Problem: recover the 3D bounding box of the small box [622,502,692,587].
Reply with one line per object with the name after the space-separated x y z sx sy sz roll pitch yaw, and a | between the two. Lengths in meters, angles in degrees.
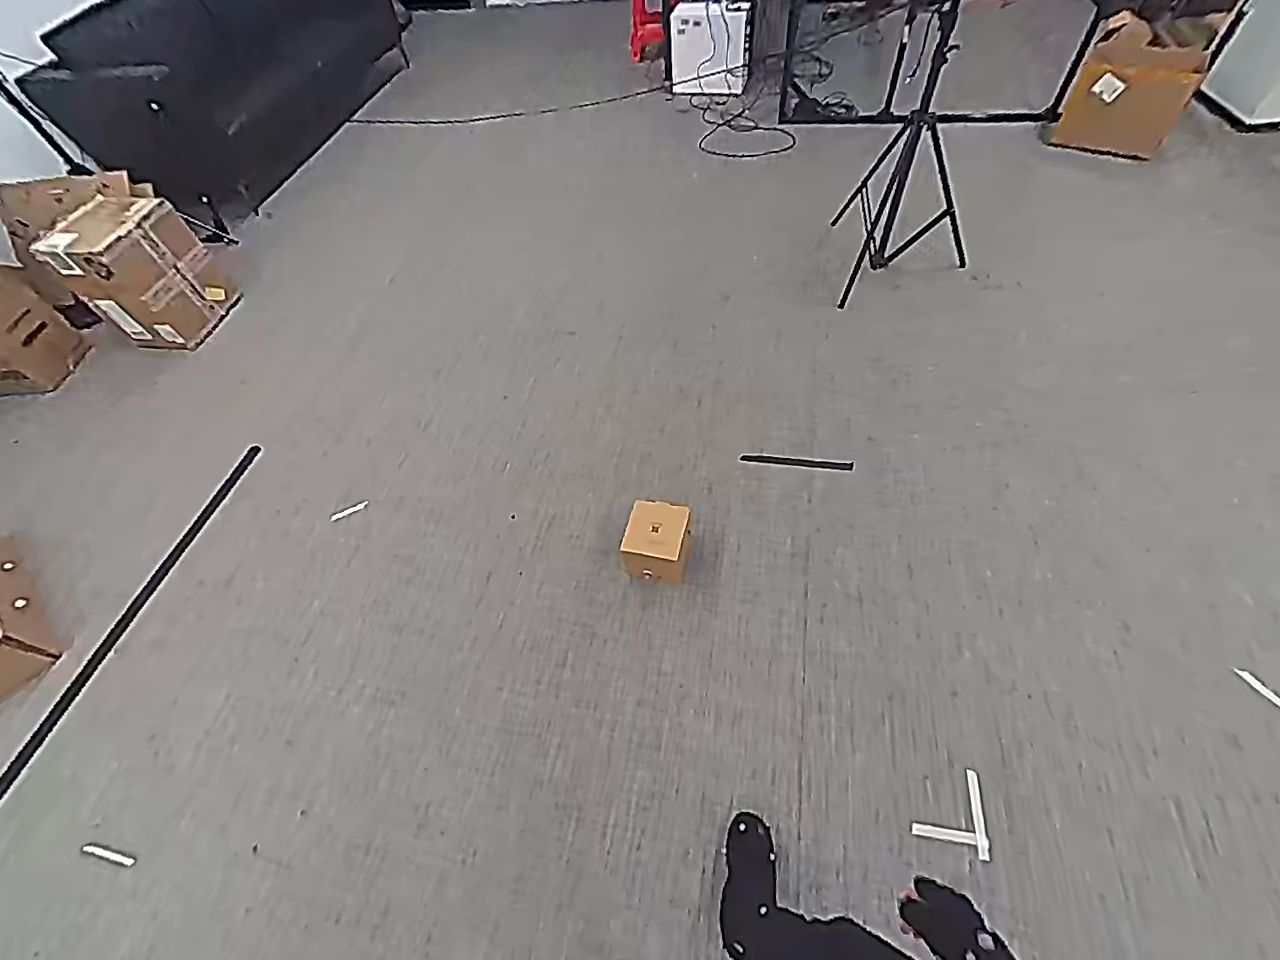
0.056 0.190 1.587 0.168 0.176 0.179 8 58 14 | small box
